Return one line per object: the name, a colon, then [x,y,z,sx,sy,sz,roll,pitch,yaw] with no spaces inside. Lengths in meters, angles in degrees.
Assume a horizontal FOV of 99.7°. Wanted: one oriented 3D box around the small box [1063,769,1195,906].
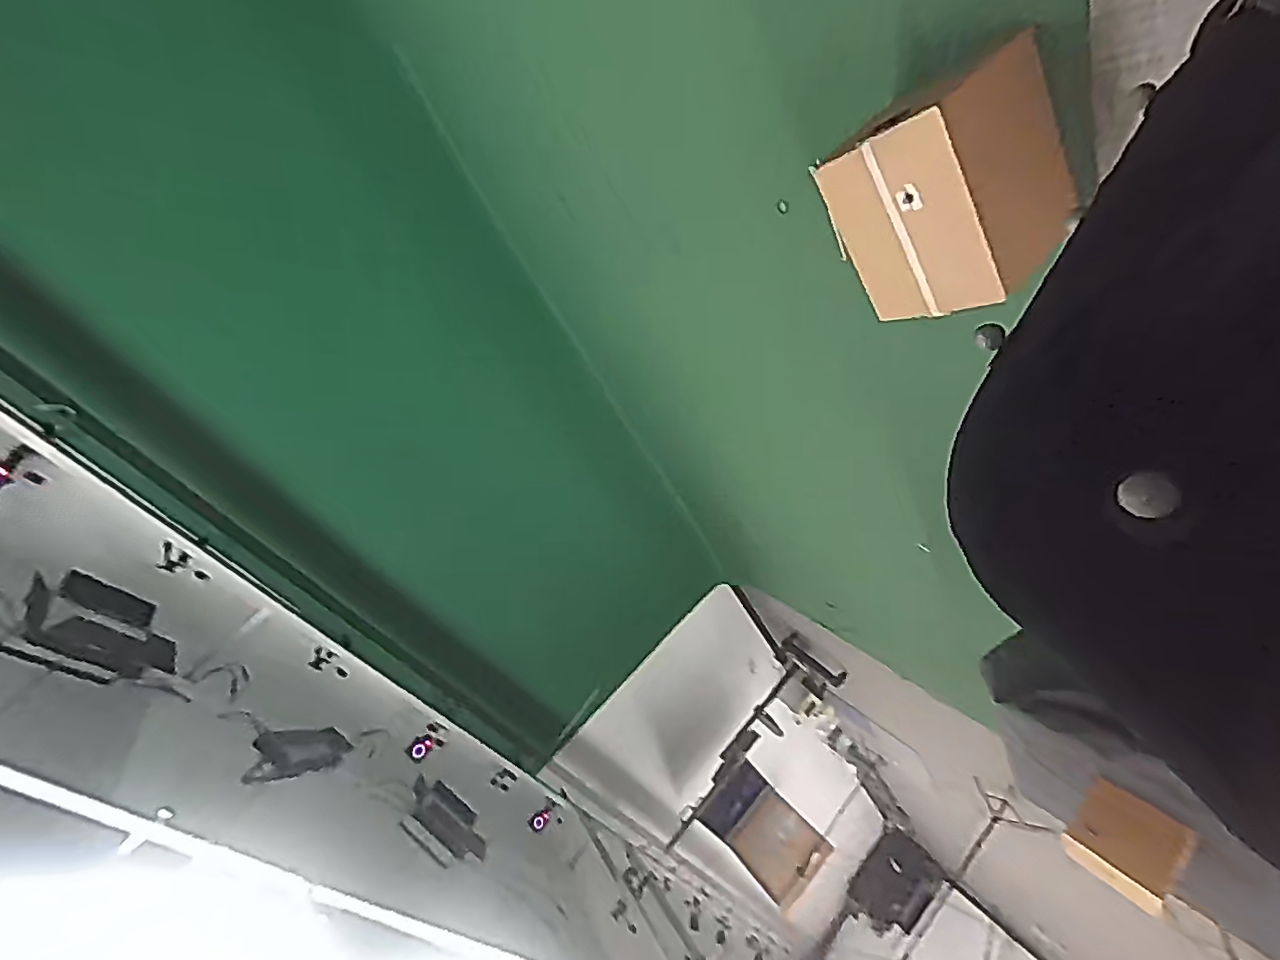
small box: [1.100,0.801,1.222,0.179,0.176,0.168,29,158,52]
